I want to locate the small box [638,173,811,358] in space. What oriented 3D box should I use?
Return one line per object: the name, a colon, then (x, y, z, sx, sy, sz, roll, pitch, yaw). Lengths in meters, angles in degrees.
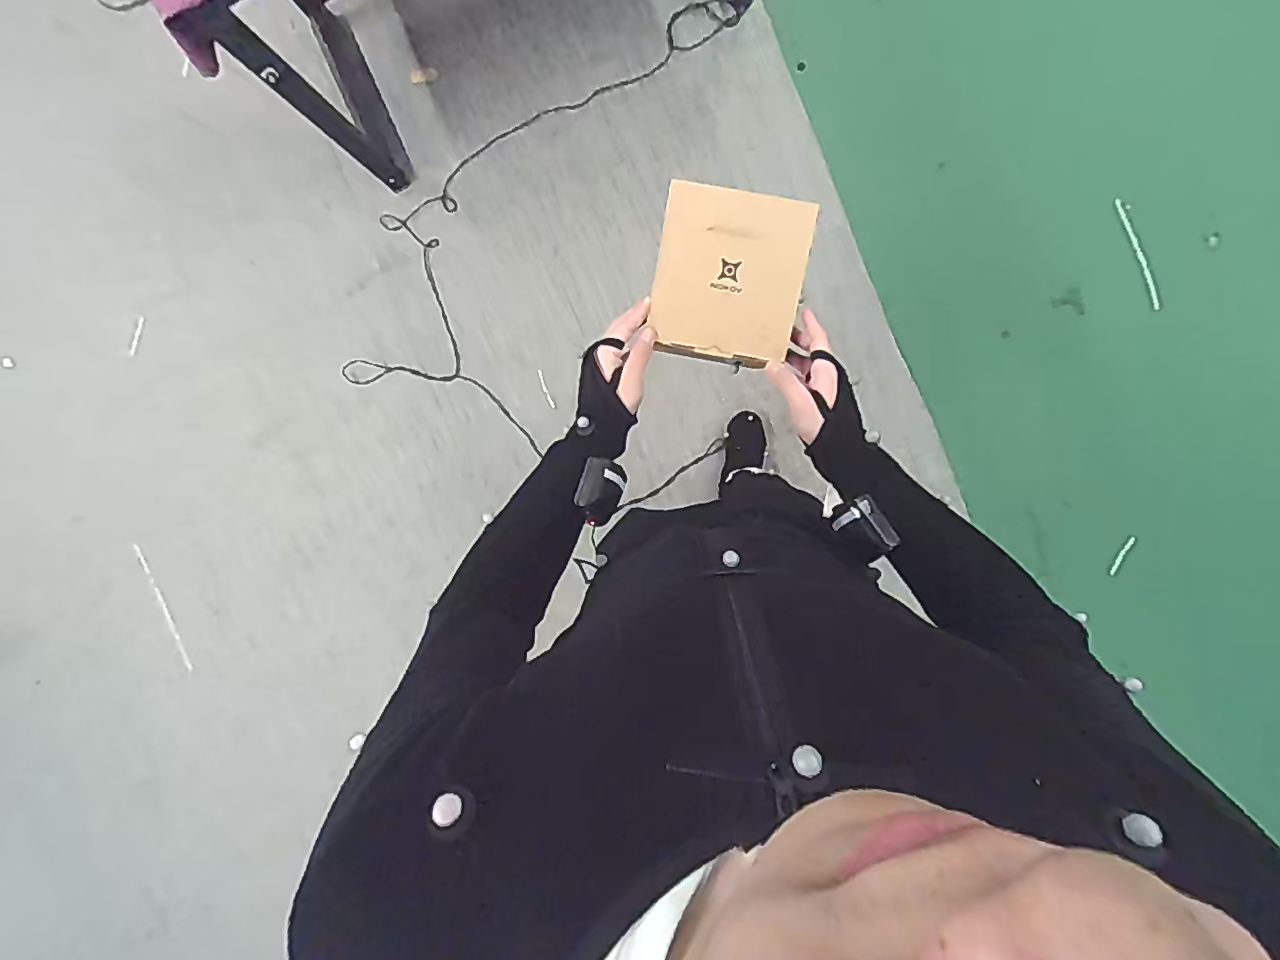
small box: (0.099, -0.254, 0.685, 0.168, 0.176, 0.179, 11, 101, 2)
